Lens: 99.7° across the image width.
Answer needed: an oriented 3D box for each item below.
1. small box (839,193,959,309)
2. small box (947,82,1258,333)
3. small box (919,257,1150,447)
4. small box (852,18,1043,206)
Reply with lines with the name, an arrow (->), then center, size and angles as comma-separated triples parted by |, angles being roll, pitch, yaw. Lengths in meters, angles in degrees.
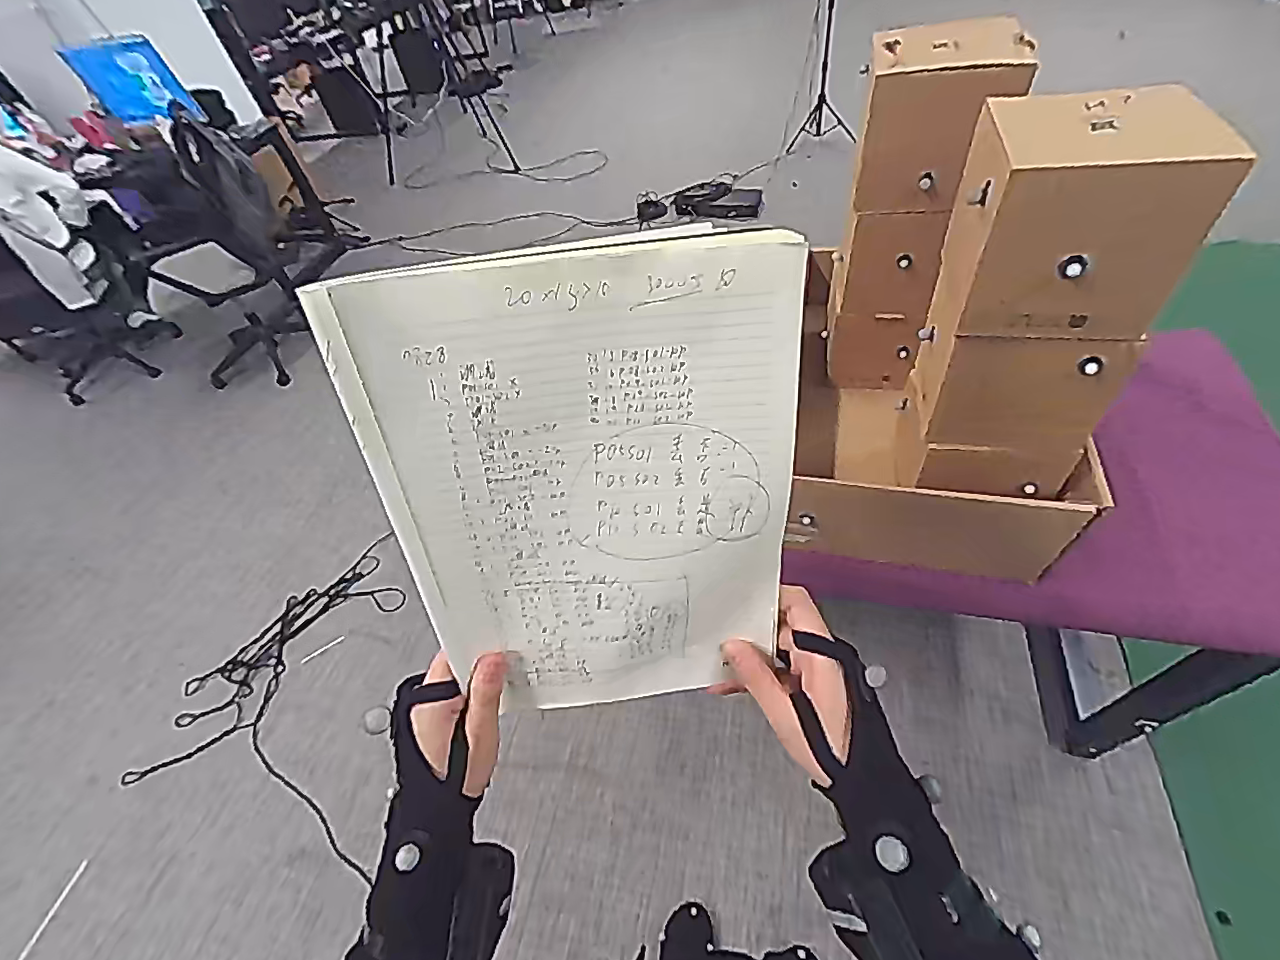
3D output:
small box -> 0.423, -0.388, 0.860 | 0.179, 0.176, 0.168 | 5, 53, 14
small box -> 0.423, -0.264, 0.539 | 0.168, 0.176, 0.179 | 7, 51, 15
small box -> 0.452, -0.158, 0.662 | 0.179, 0.176, 0.168 | 7, 51, 16
small box -> 0.400, -0.492, 0.735 | 0.179, 0.176, 0.168 | 7, 53, 14
